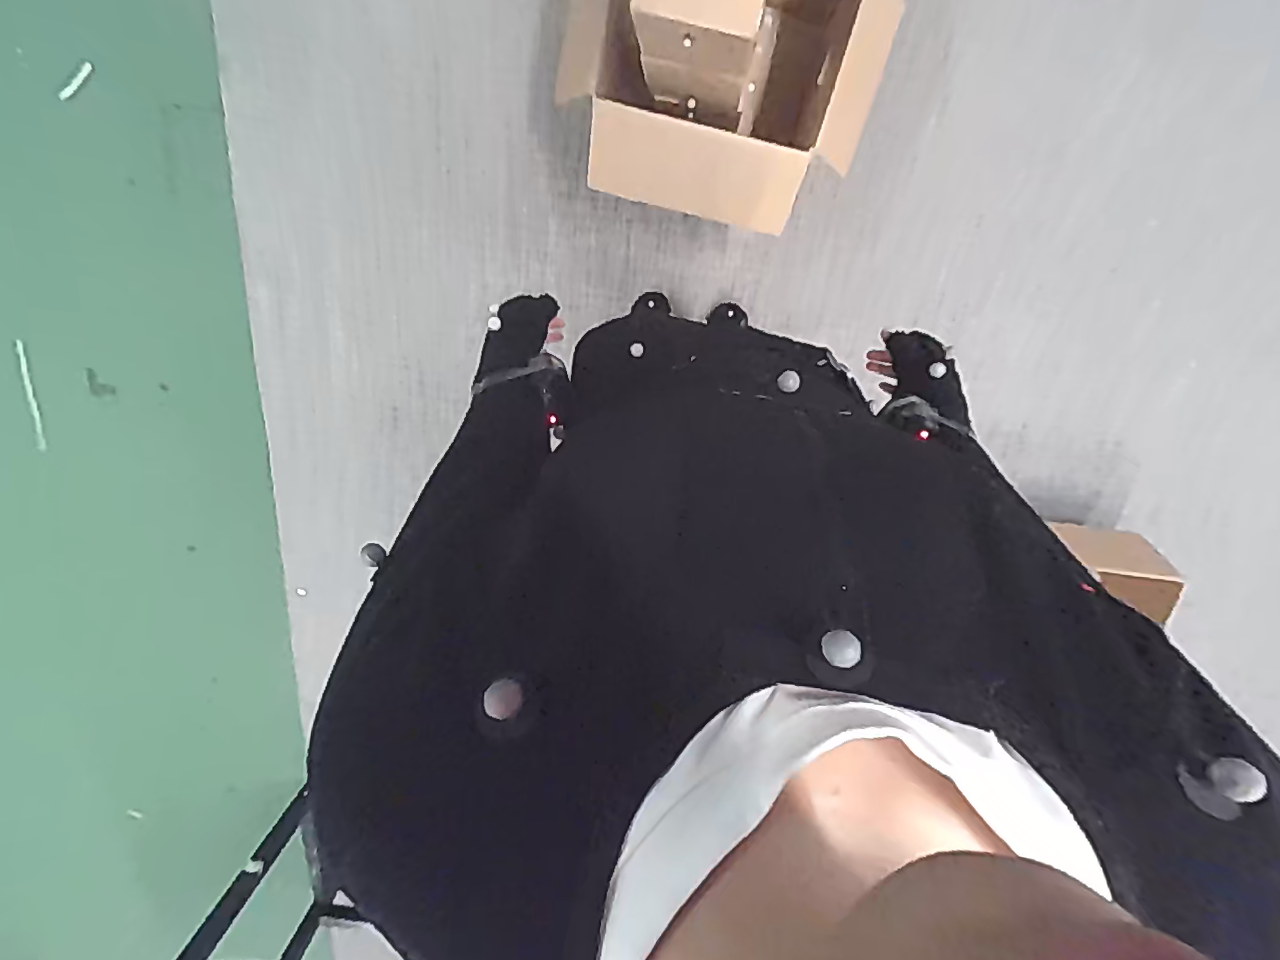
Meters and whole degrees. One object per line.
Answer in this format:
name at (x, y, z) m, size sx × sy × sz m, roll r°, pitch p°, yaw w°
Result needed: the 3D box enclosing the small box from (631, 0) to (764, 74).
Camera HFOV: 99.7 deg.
small box at (0.095, -0.722, 0.780) m, size 0.179 × 0.176 × 0.168 m, roll 13°, pitch 112°, yaw 0°
